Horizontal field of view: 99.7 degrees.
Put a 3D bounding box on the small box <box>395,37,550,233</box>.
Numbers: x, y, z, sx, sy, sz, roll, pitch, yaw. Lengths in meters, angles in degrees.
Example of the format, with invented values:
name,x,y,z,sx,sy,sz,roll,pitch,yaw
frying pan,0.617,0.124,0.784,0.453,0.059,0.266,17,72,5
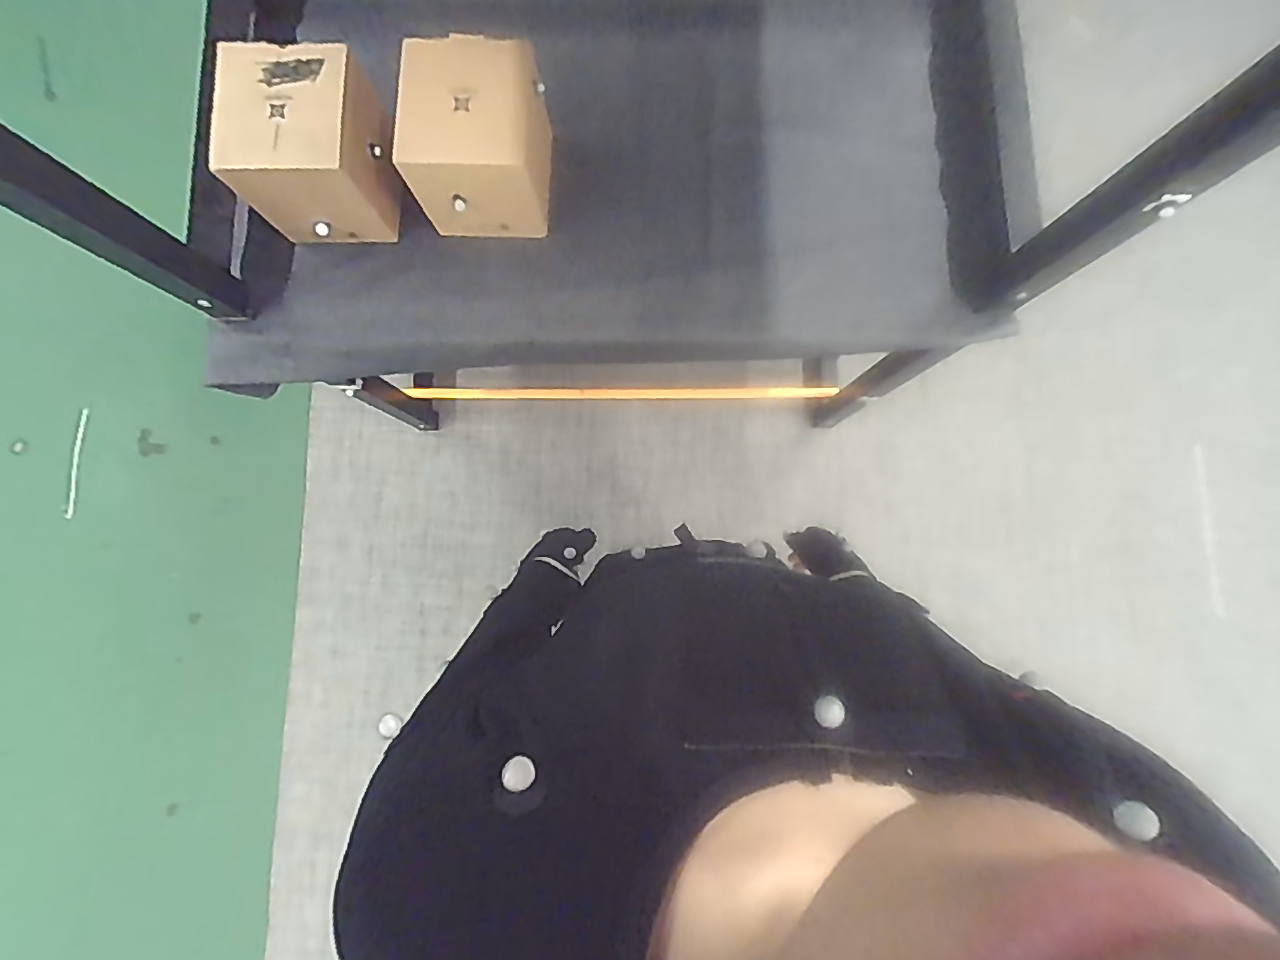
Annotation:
name,x,y,z,sx,sy,sz,roll,pitch,yaw
small box,-0.224,-0.473,0.765,0.168,0.176,0.179,1,83,0

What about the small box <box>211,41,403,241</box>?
name,x,y,z,sx,sy,sz,roll,pitch,yaw
small box,-0.451,-0.465,0.761,0.168,0.176,0.179,0,83,0
